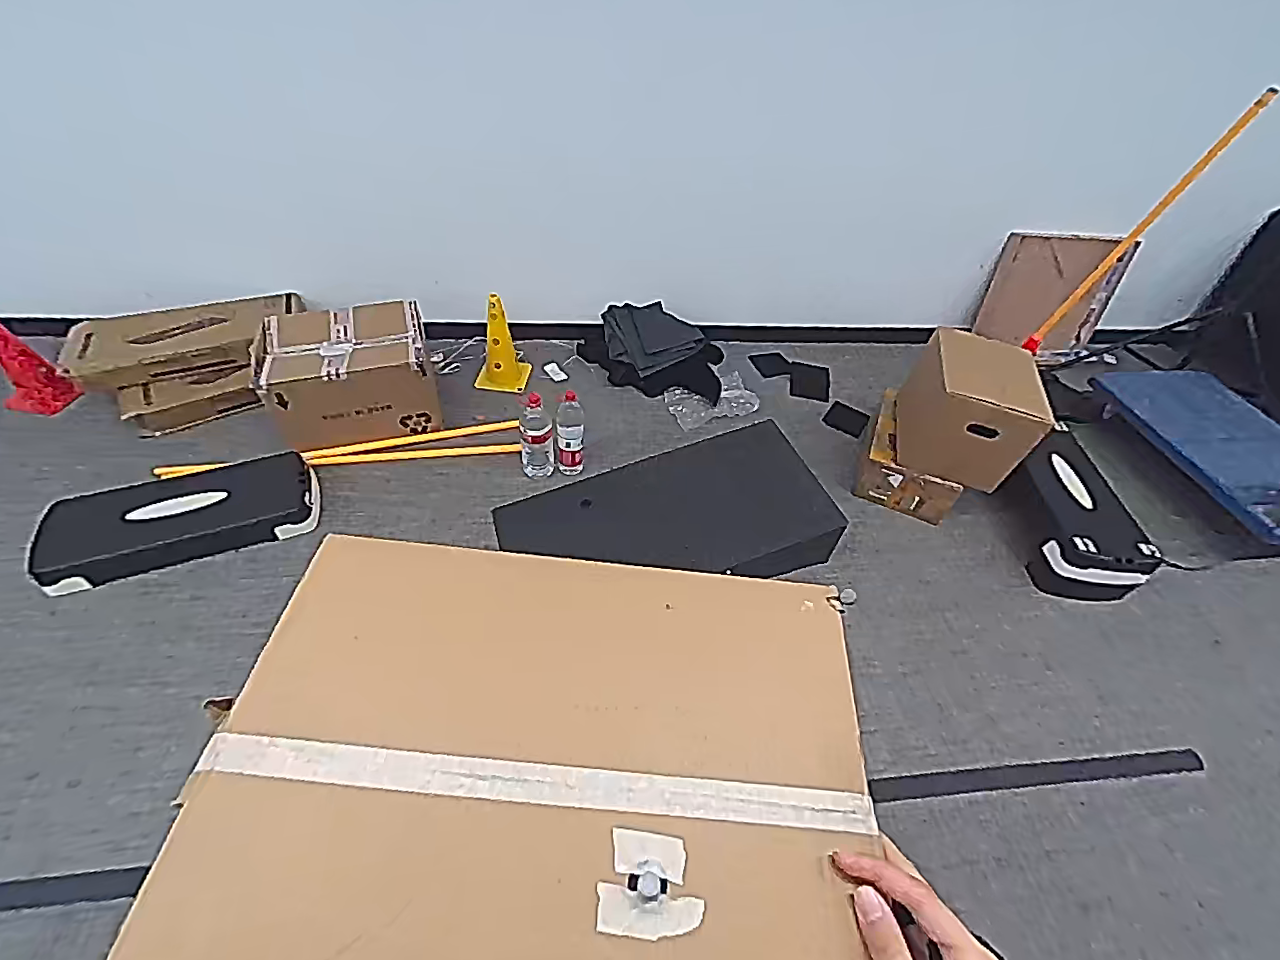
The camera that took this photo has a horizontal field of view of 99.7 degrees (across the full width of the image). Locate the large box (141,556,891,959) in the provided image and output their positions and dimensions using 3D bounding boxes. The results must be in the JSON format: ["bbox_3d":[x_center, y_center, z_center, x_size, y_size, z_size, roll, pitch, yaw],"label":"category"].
[{"bbox_3d":[-0.066,0.289,0.452,0.408,0.320,0.320,6,52,-1],"label":"large box"}]
